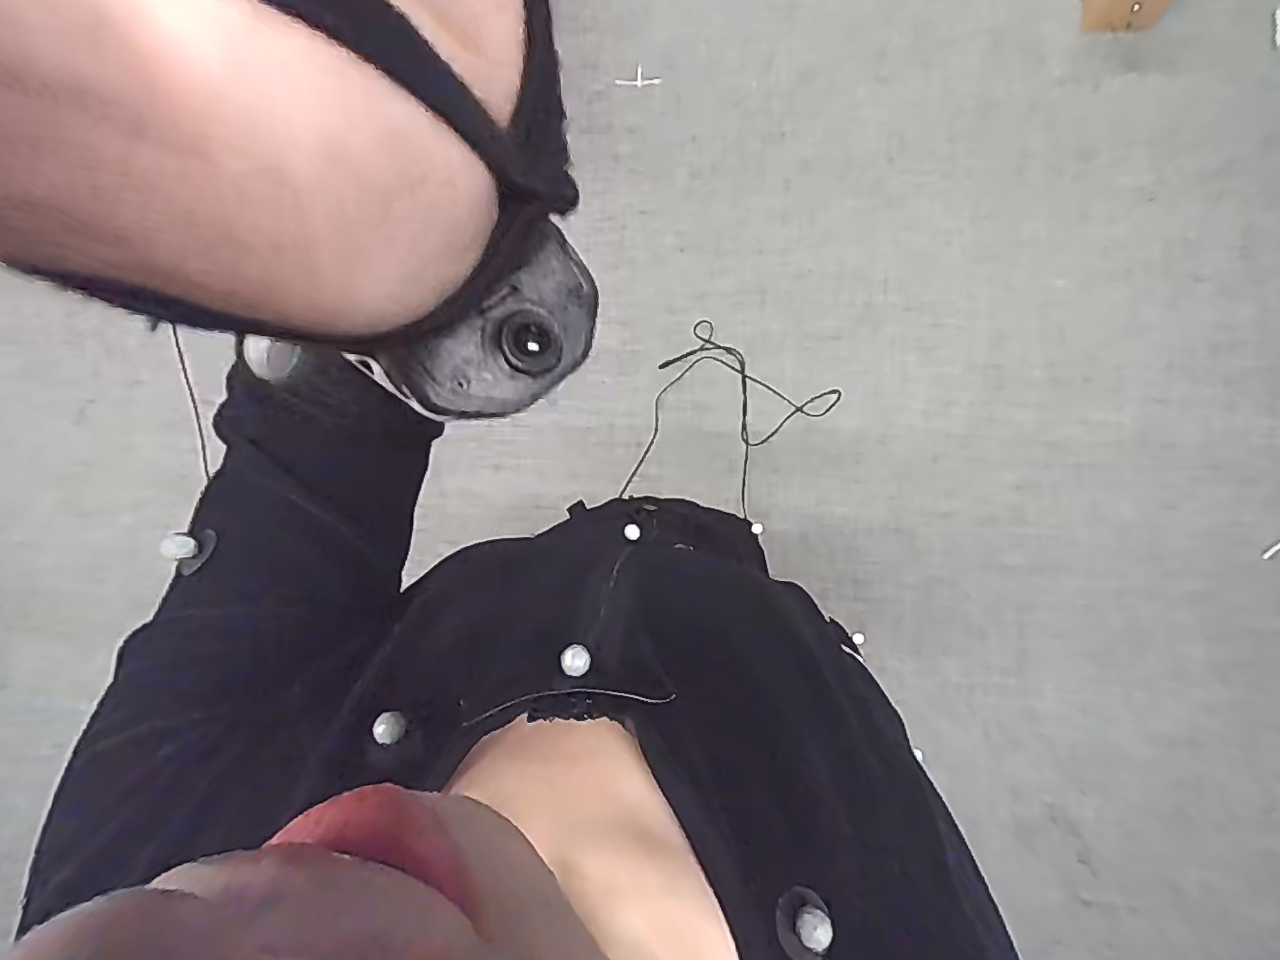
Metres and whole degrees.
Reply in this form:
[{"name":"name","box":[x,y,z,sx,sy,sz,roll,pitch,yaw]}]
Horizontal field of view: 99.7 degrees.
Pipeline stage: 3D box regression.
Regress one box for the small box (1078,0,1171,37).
[{"name":"small box","box":[1.309,-1.323,1.436,0.168,0.176,0.179,3,86,4]}]
